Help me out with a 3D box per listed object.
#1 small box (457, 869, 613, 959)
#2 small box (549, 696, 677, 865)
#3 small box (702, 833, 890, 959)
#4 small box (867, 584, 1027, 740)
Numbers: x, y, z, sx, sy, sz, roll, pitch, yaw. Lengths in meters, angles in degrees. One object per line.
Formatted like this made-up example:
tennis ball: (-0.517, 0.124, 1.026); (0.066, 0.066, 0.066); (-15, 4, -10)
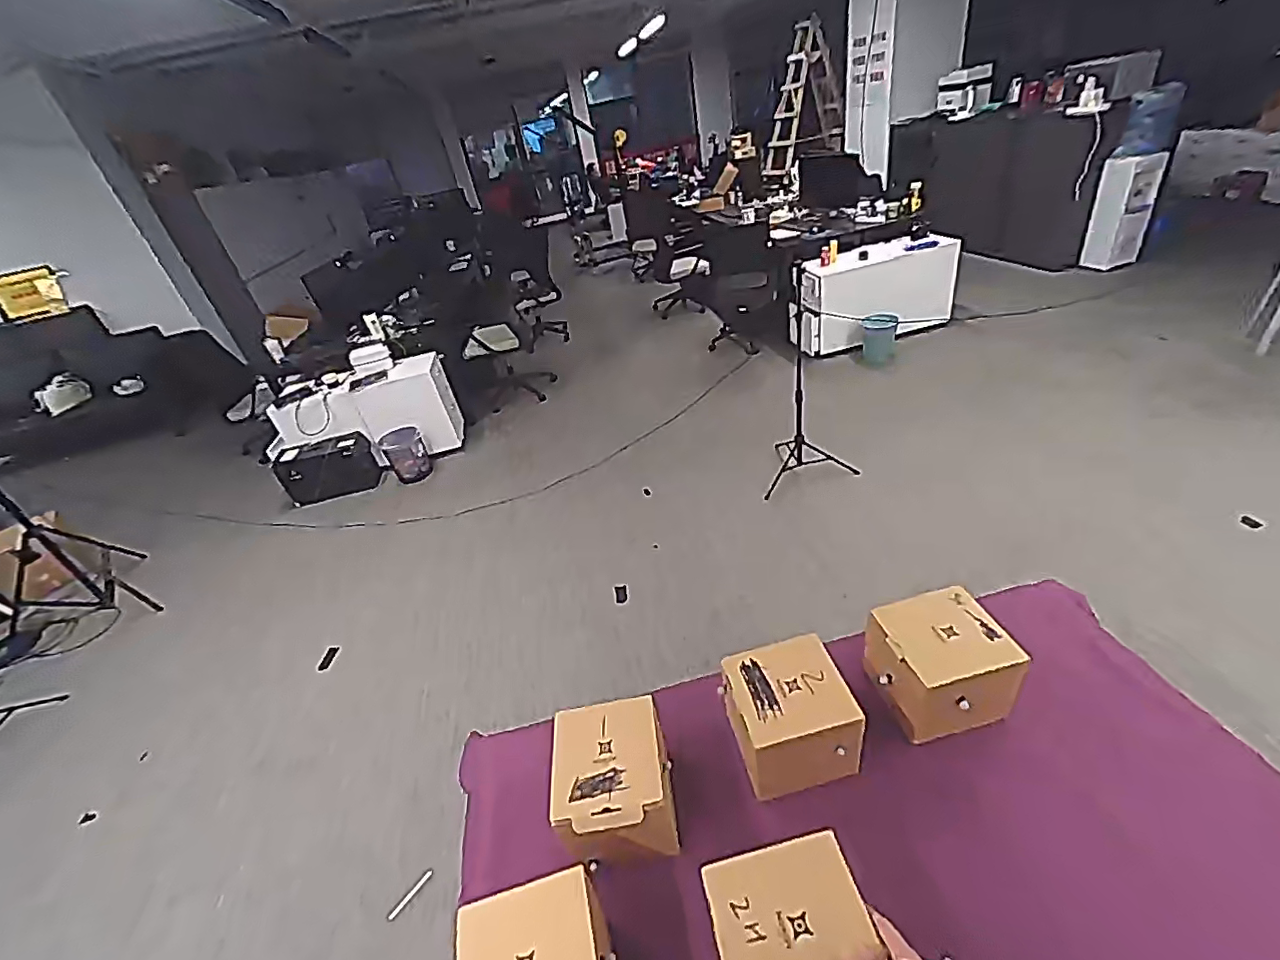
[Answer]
small box: (-0.119, 0.631, 0.661); (0.168, 0.176, 0.179); (-15, 34, -8)
small box: (-0.040, 0.482, 0.861); (0.168, 0.176, 0.179); (-11, 33, 1)
small box: (0.187, 0.568, 0.648); (0.179, 0.176, 0.168); (-16, 33, -2)
small box: (0.511, 0.314, 0.929); (0.179, 0.176, 0.168); (-15, 36, -3)
